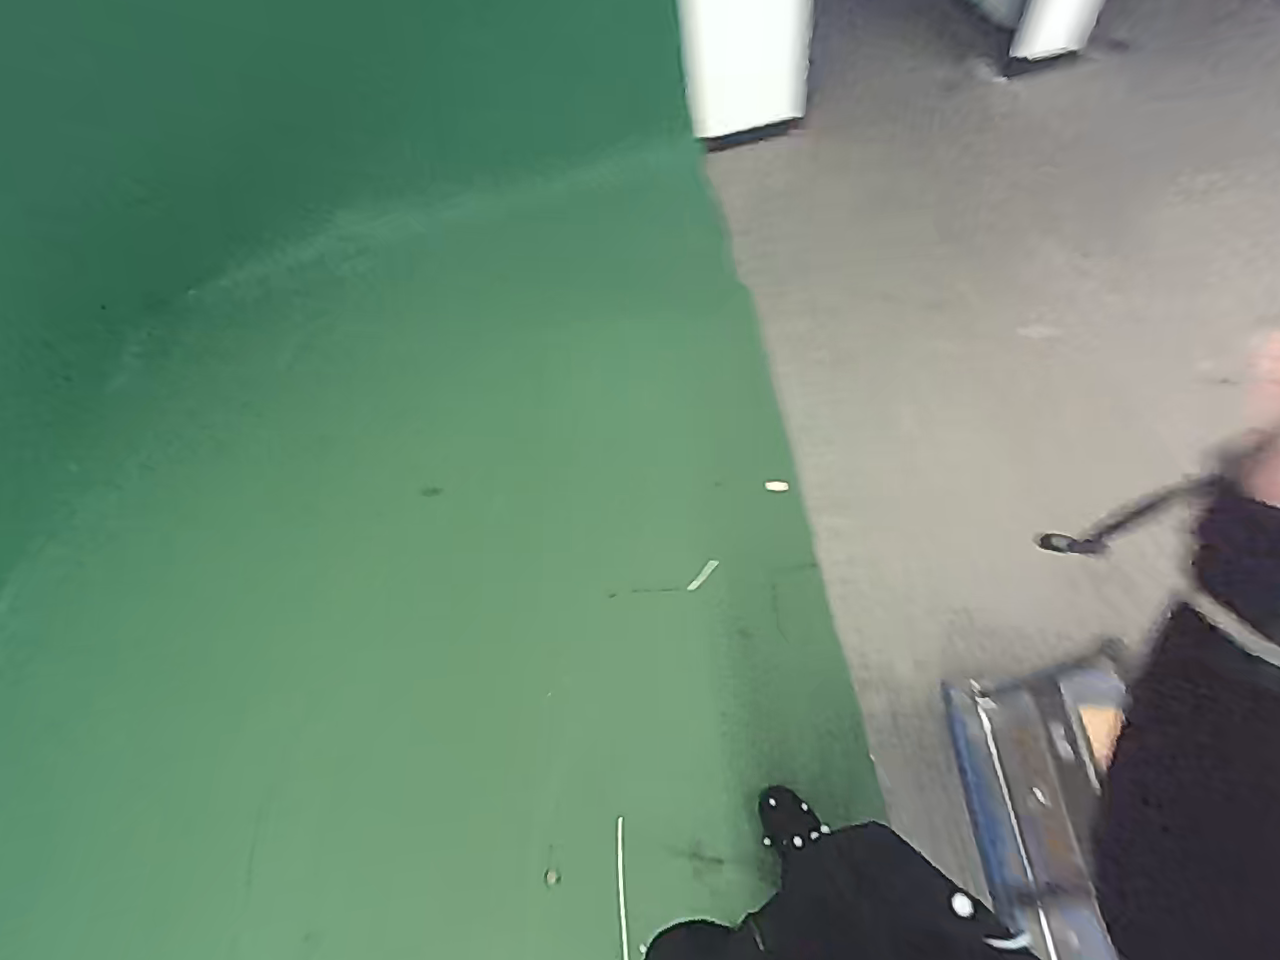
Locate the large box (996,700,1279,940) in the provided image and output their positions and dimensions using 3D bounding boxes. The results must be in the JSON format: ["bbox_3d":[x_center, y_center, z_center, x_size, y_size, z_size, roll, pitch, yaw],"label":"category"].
[{"bbox_3d":[0.945,0.577,0.953,0.408,0.320,0.320,-4,61,8],"label":"large box"}]
